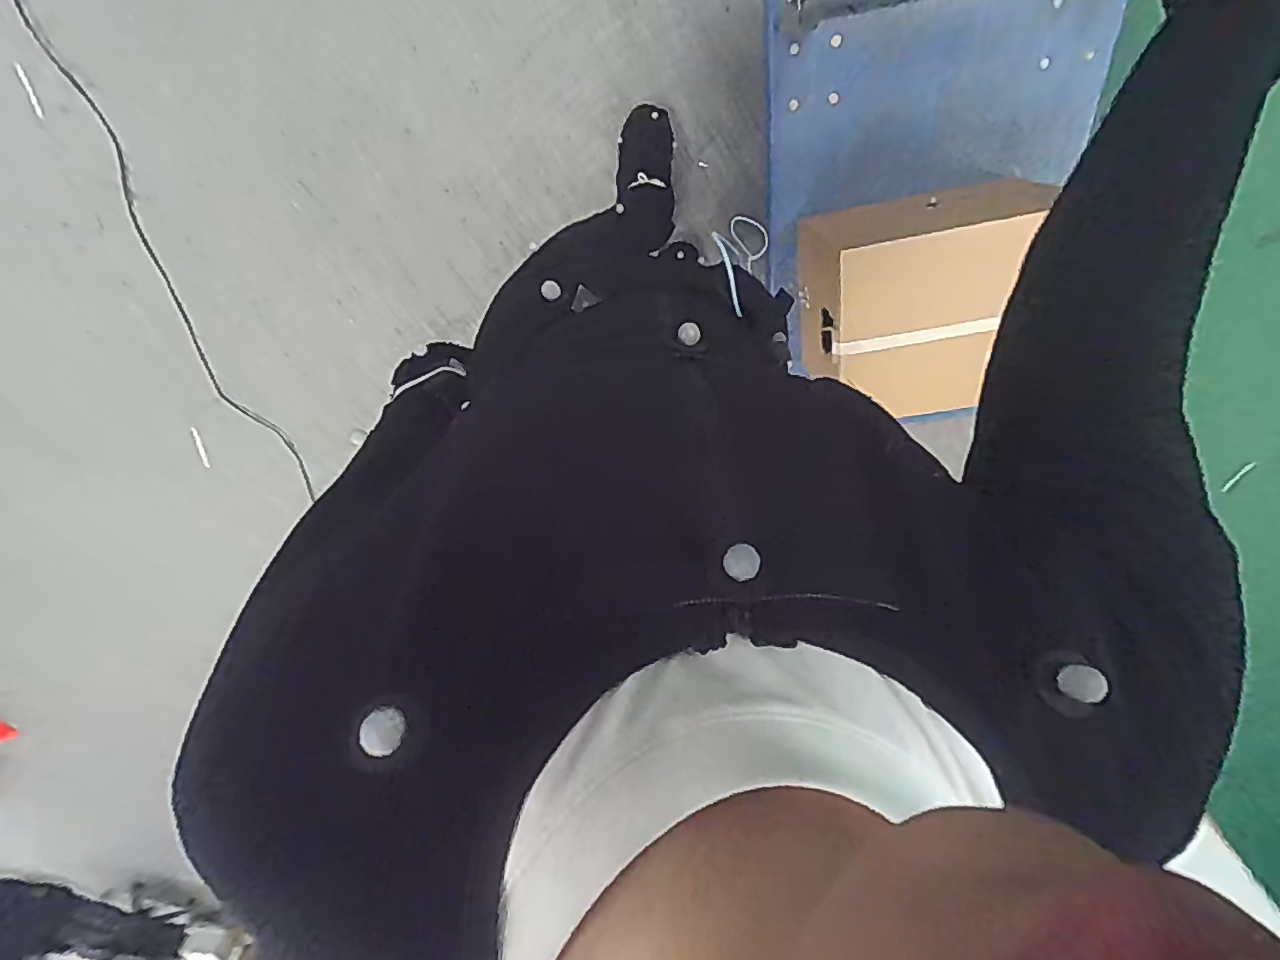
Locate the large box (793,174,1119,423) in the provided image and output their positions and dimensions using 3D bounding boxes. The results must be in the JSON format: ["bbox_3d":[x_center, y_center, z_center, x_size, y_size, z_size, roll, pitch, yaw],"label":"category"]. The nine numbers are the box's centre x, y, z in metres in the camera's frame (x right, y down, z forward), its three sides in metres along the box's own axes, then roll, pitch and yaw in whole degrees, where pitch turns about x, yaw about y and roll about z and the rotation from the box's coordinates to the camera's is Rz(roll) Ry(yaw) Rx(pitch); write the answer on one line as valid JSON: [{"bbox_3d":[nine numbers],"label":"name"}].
[{"bbox_3d":[0.524,-0.341,1.000,0.408,0.320,0.320,-9,124,7],"label":"large box"}]
